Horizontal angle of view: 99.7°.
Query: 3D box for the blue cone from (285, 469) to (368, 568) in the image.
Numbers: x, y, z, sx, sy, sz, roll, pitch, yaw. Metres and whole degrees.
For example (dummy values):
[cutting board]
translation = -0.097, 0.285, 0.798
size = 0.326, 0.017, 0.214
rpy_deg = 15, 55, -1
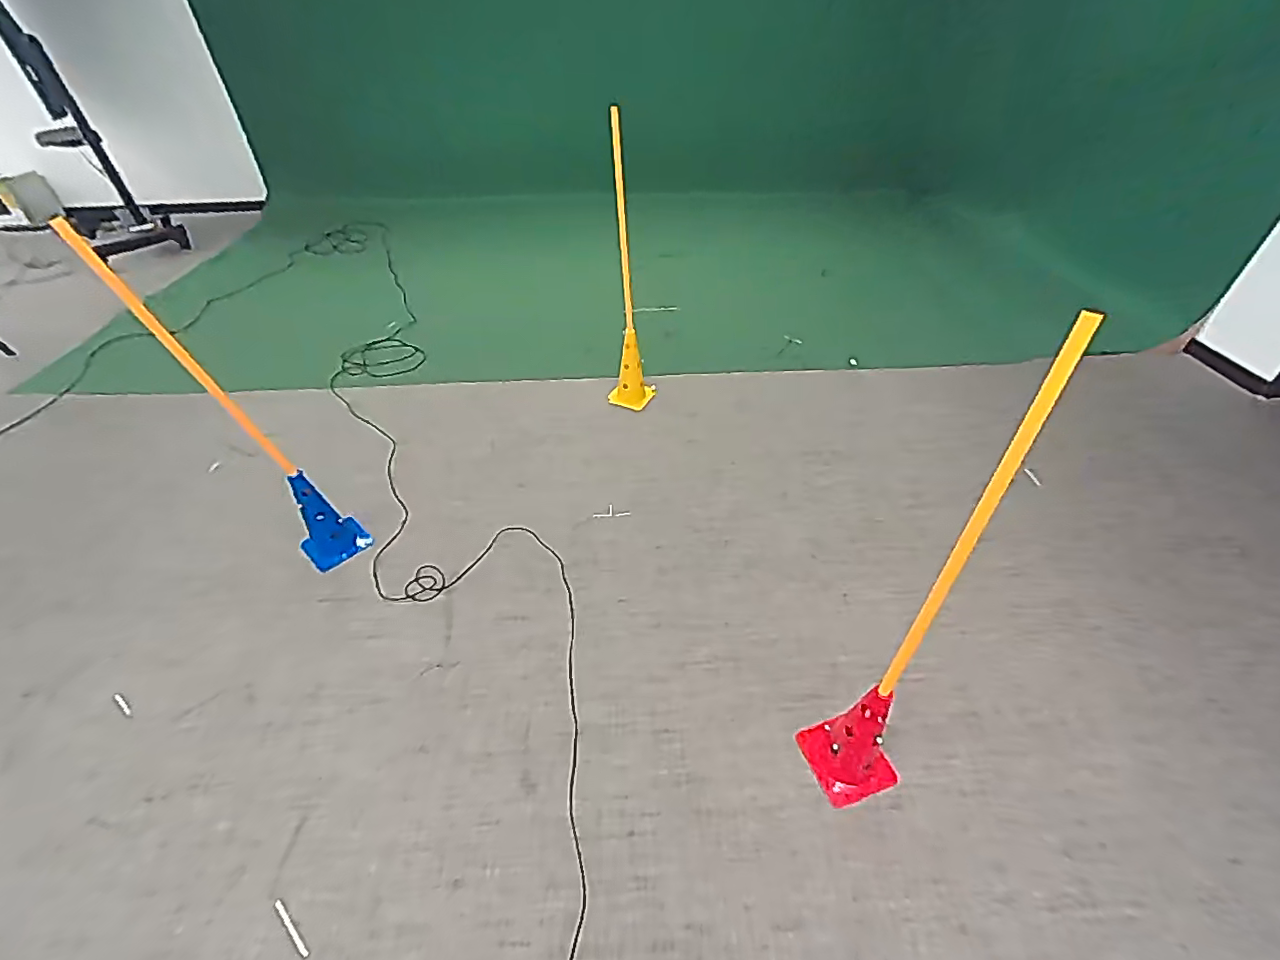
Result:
[blue cone]
translation = -1.118, 0.113, 1.866
size = 0.192, 0.380, 0.193
rpy_deg = 31, 53, 29
